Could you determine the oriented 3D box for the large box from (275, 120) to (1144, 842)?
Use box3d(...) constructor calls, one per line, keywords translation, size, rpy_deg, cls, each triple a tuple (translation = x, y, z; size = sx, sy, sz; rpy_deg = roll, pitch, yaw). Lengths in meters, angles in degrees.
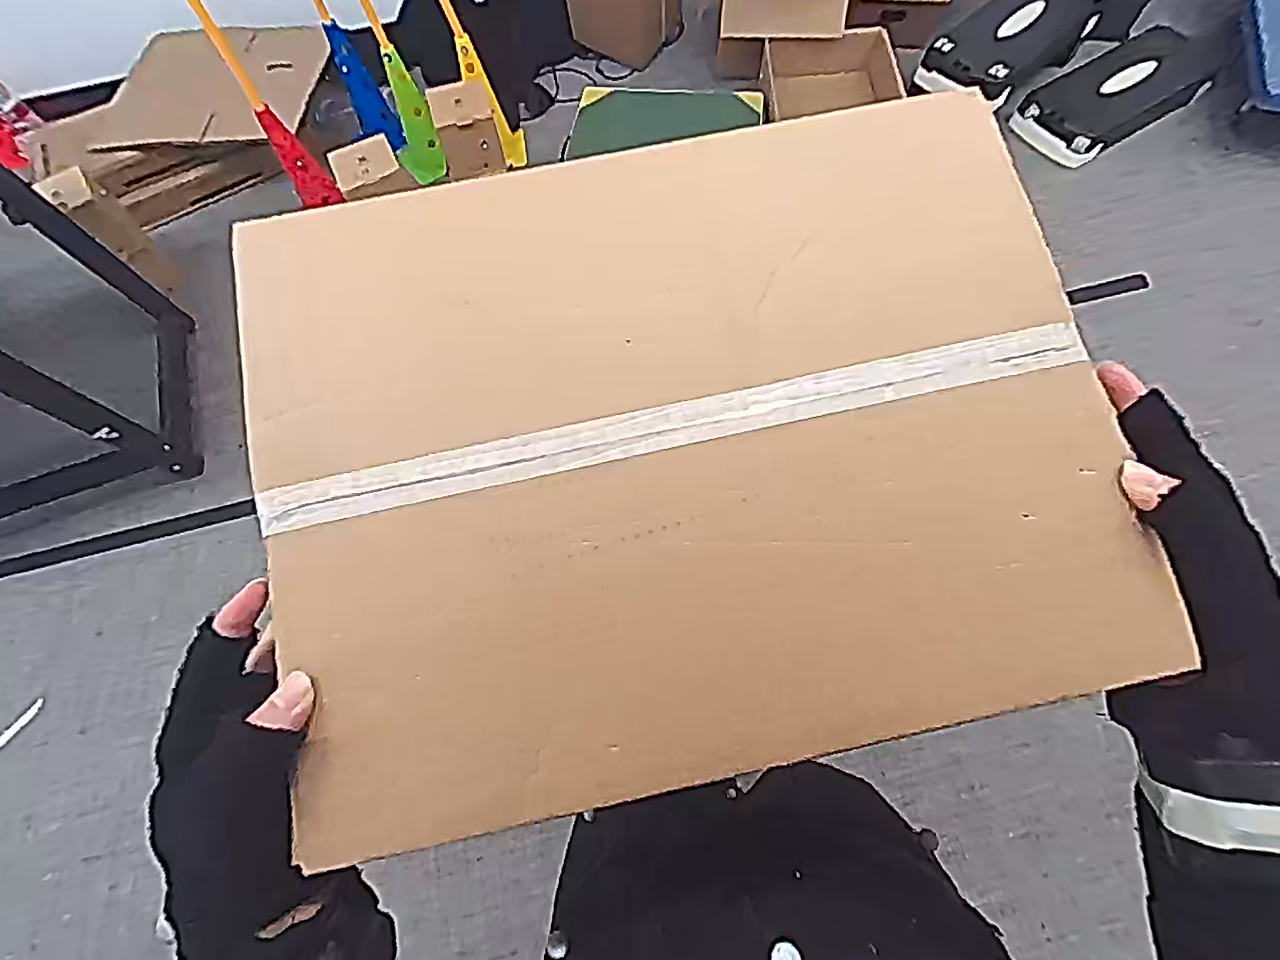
box3d(translation=(0.020, 0.006, 0.428), size=(0.408, 0.320, 0.320), rpy_deg=(-12, 80, -2), cls="large box")
